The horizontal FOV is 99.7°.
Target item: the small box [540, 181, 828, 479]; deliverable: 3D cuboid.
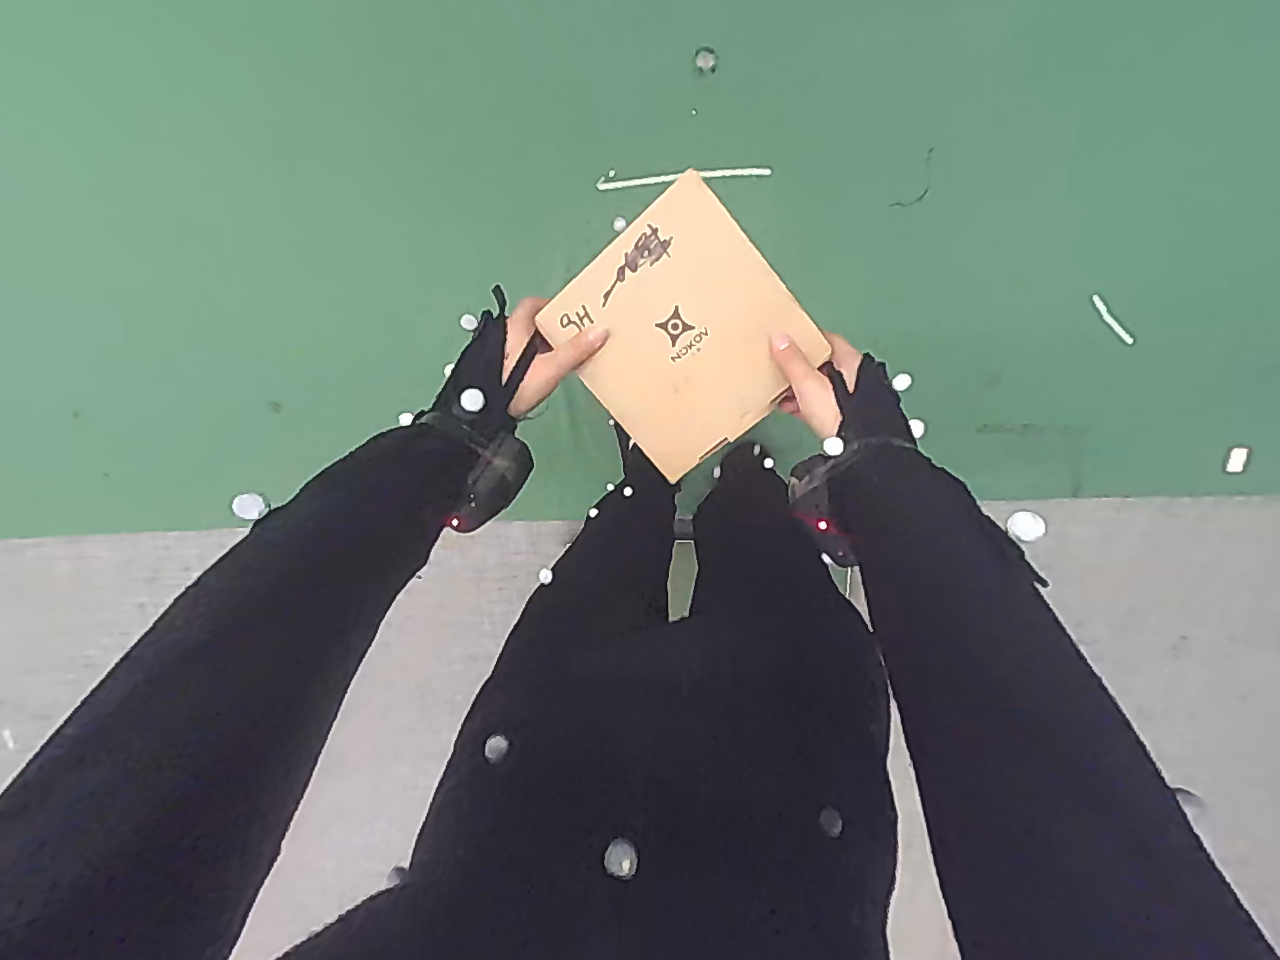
[{"bbox_3d":[0.040,-0.133,0.507,0.168,0.176,0.179,-40,98,12],"label":"small box"}]
